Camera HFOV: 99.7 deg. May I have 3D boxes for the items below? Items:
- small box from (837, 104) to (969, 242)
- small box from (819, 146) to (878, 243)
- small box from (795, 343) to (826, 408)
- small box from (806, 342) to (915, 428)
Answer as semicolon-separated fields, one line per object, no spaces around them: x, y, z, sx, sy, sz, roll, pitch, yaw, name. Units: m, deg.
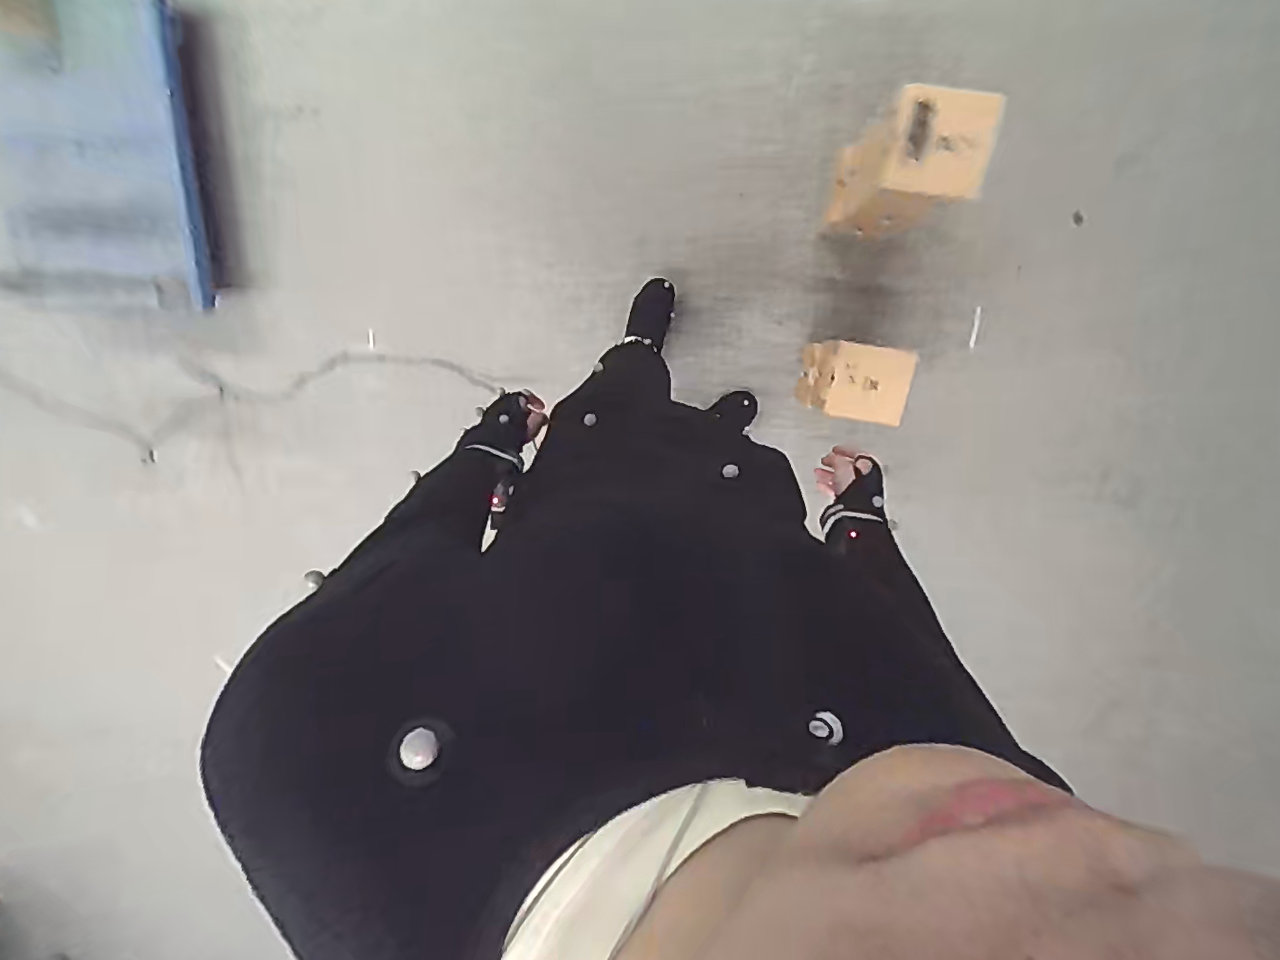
0.558;-0.655;1.178;0.168;0.176;0.179;41;105;-3;small box
0.556;-0.693;1.329;0.179;0.176;0.168;9;106;3;small box
0.520;-0.272;1.441;0.179;0.176;0.168;7;105;5;small box
0.512;-0.230;1.281;0.179;0.176;0.168;11;104;4;small box
